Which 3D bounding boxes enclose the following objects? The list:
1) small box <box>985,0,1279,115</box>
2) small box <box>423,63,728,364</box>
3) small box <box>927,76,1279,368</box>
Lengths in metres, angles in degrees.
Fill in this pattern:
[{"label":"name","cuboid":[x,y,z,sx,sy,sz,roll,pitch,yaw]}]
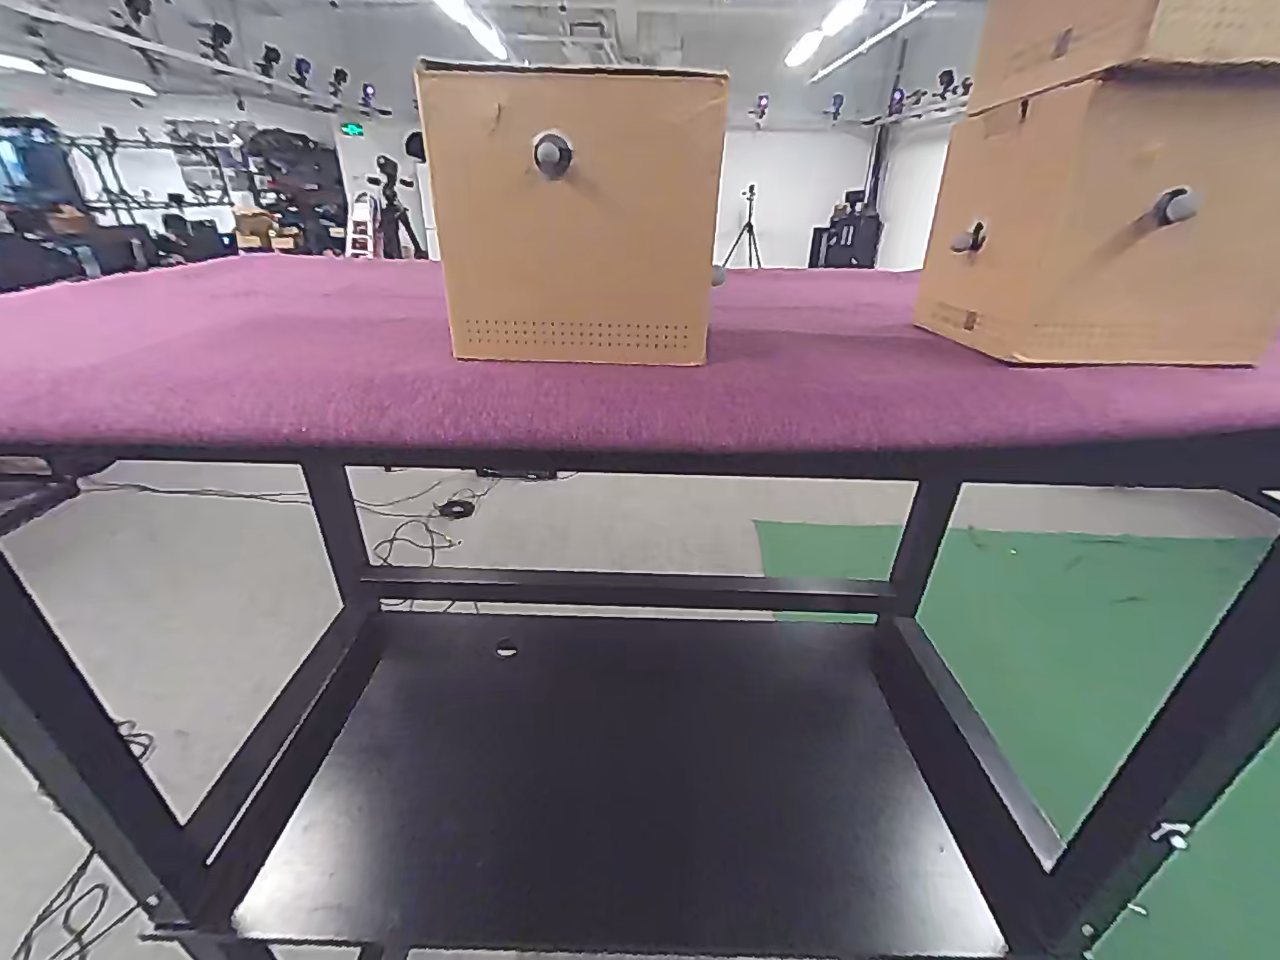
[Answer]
[{"label":"small box","cuboid":[0.346,-0.326,0.329,0.179,0.176,0.168,1,26,1]},{"label":"small box","cuboid":[-0.035,-0.190,0.406,0.179,0.176,0.168,3,29,1]},{"label":"small box","cuboid":[0.345,-0.185,0.412,0.179,0.176,0.168,1,26,2]}]
